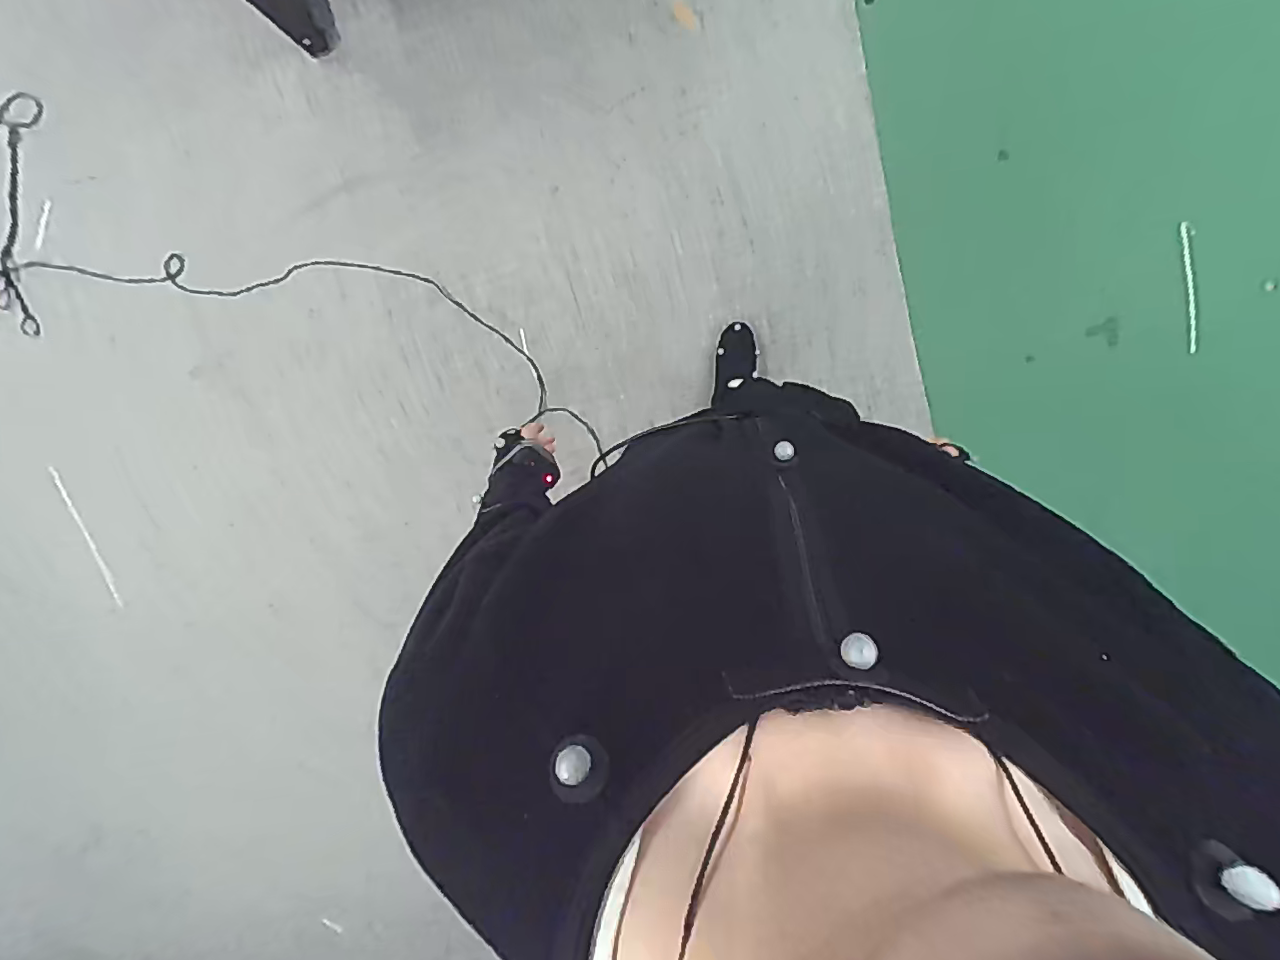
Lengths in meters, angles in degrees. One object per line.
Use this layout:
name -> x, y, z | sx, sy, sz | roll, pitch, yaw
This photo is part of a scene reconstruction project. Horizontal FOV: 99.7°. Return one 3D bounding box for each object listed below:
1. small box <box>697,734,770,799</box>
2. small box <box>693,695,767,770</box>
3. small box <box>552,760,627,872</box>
small box -> 0.246, 0.779, 1.386 | 0.168, 0.176, 0.179 | -16, 100, 7
small box -> 0.253, 0.742, 1.546 | 0.168, 0.176, 0.179 | -16, 100, 7
small box -> -0.129, 0.881, 1.429 | 0.168, 0.176, 0.179 | 6, 101, 4
